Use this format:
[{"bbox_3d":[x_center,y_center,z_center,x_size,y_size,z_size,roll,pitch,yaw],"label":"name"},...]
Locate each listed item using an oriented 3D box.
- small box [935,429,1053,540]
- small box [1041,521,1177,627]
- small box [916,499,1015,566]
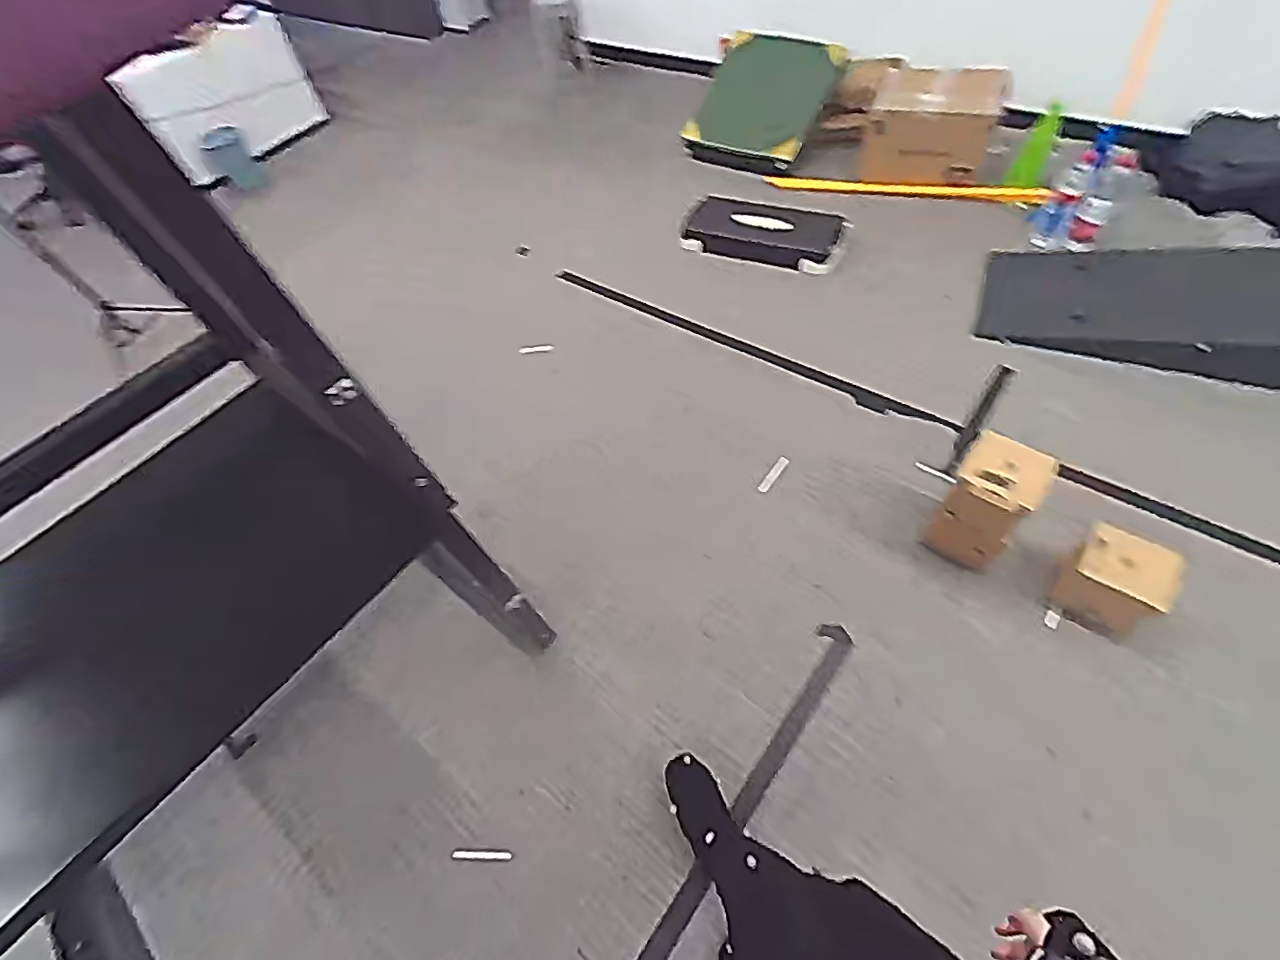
[{"bbox_3d":[0.850,0.016,1.318,0.168,0.176,0.179,32,65,25],"label":"small box"},{"bbox_3d":[1.142,0.238,1.327,0.179,0.176,0.168,30,65,24],"label":"small box"},{"bbox_3d":[0.878,0.108,1.451,0.179,0.176,0.168,29,65,24],"label":"small box"}]
